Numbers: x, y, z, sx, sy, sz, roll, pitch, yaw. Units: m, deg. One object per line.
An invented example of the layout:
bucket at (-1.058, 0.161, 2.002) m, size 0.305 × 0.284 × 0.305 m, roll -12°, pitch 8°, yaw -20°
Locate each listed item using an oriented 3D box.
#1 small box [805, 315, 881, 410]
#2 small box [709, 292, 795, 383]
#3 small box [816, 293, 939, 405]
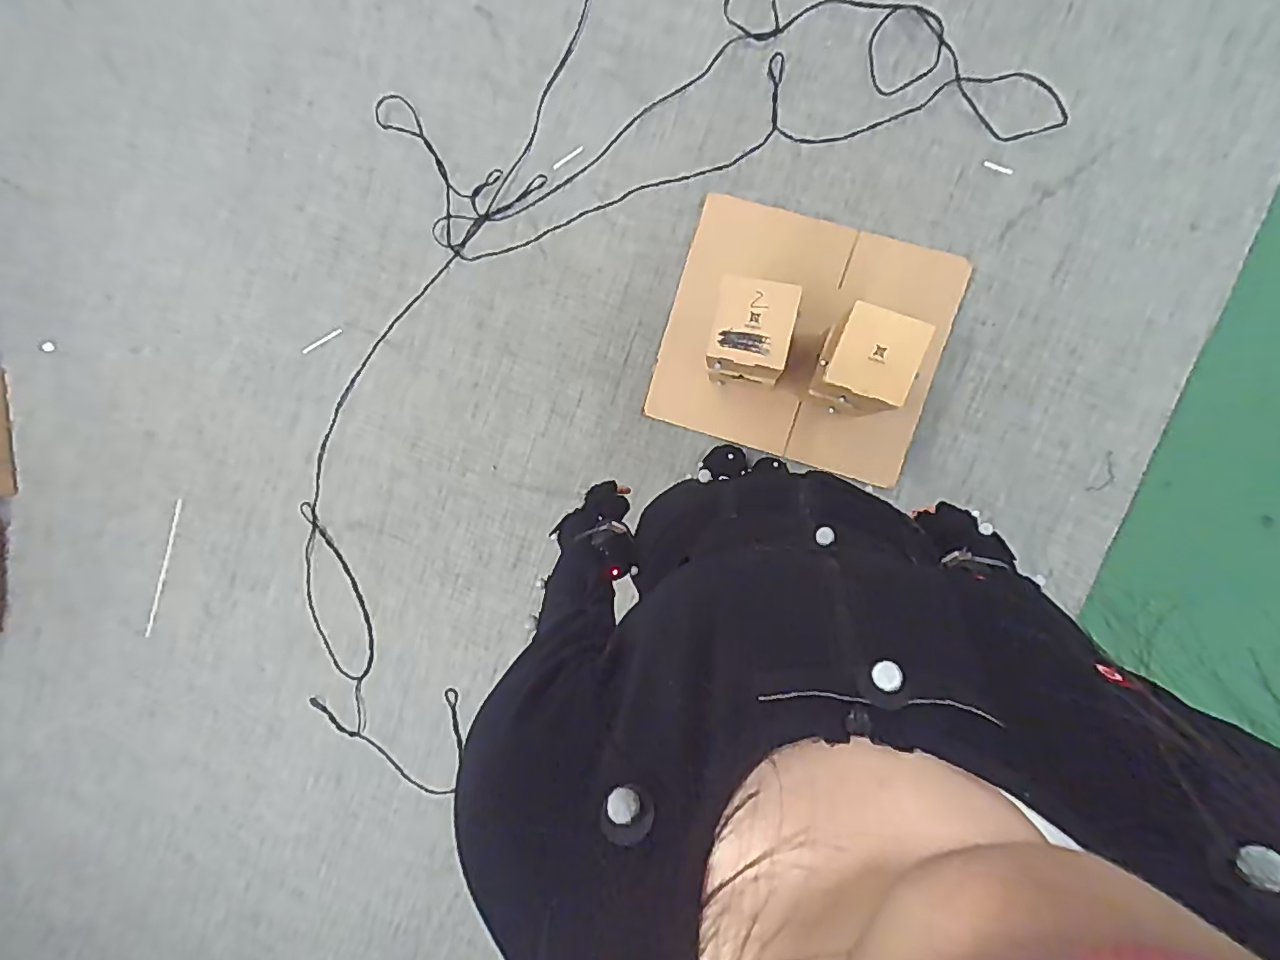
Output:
small box at (0.514, -0.278, 1.317) m, size 0.168 × 0.176 × 0.179 m, roll 18°, pitch 97°, yaw 8°
small box at (0.273, -0.344, 1.342) m, size 0.168 × 0.176 × 0.179 m, roll 14°, pitch 96°, yaw 7°
small box at (0.494, -0.271, 1.156) m, size 0.168 × 0.176 × 0.179 m, roll 21°, pitch 98°, yaw 6°
